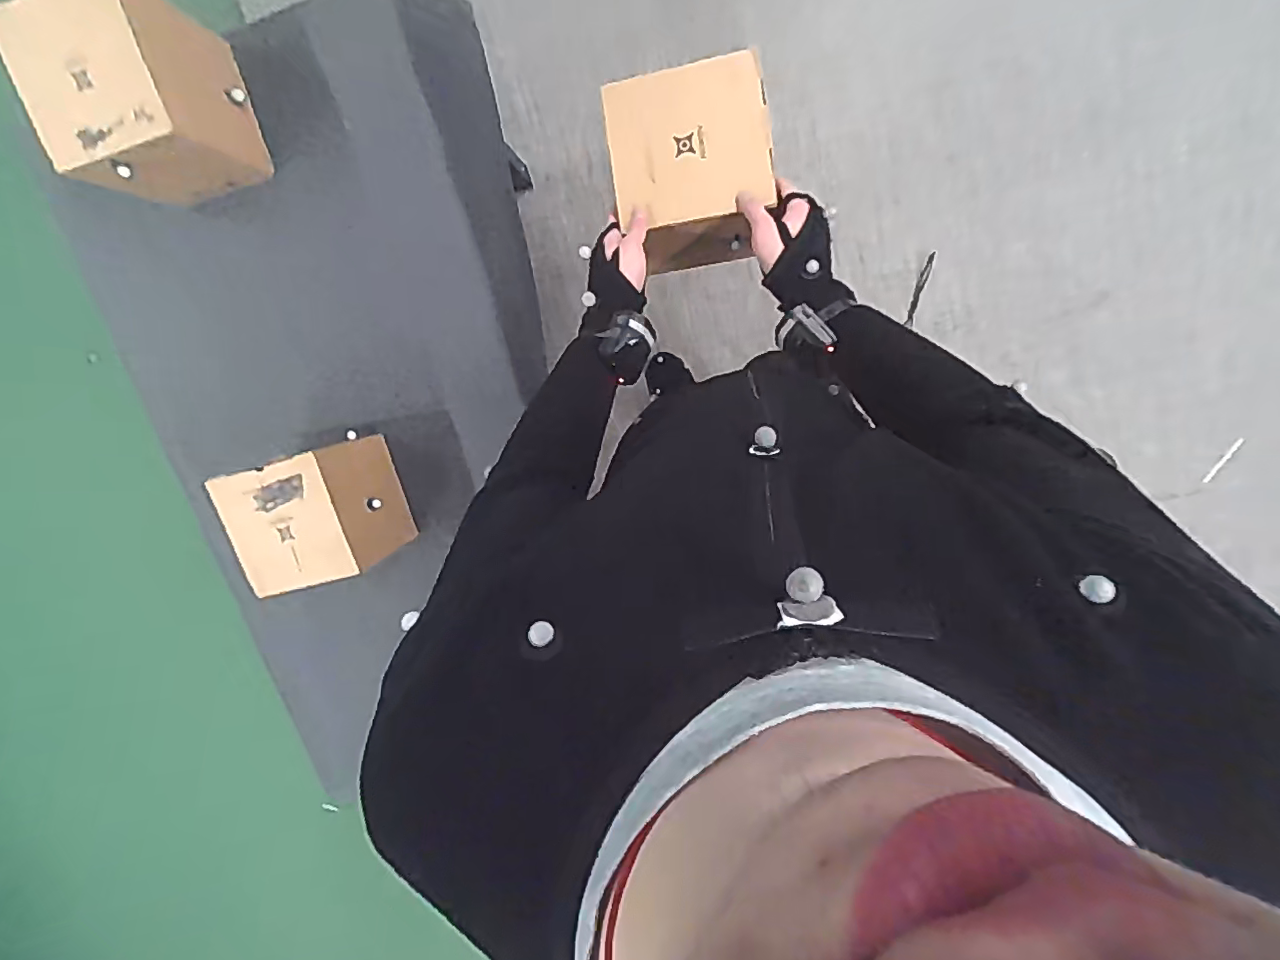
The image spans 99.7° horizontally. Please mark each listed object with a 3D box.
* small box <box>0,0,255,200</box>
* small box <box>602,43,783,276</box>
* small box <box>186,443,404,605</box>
[{"bbox_3d":[-0.629,-0.475,0.661,0.168,0.176,0.179,-13,101,6],"label":"small box"},{"bbox_3d":[0.064,-0.365,0.651,0.179,0.176,0.168,-8,92,8],"label":"small box"},{"bbox_3d":[-0.473,0.050,0.770,0.168,0.176,0.179,-13,102,6],"label":"small box"}]
